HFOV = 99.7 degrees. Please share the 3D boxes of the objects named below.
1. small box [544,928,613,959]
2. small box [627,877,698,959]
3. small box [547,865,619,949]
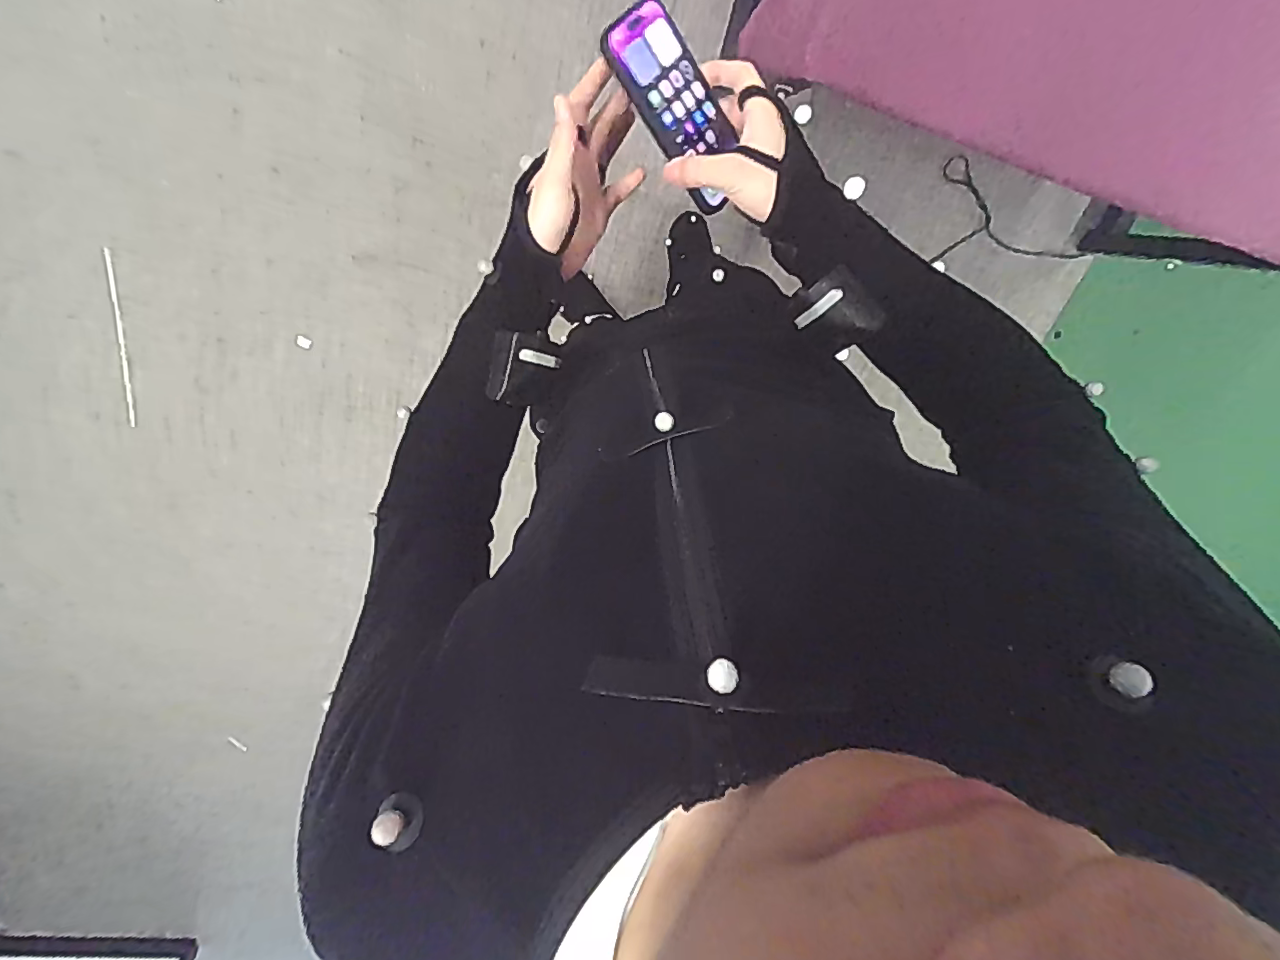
[{"bbox_3d":[-0.172,1.377,1.485,0.168,0.176,0.179,18,114,-14],"label":"small box"},{"bbox_3d":[0.063,1.393,1.699,0.168,0.176,0.179,16,114,-14],"label":"small box"},{"bbox_3d":[-0.176,1.301,1.631,0.168,0.176,0.179,18,114,-14],"label":"small box"}]
